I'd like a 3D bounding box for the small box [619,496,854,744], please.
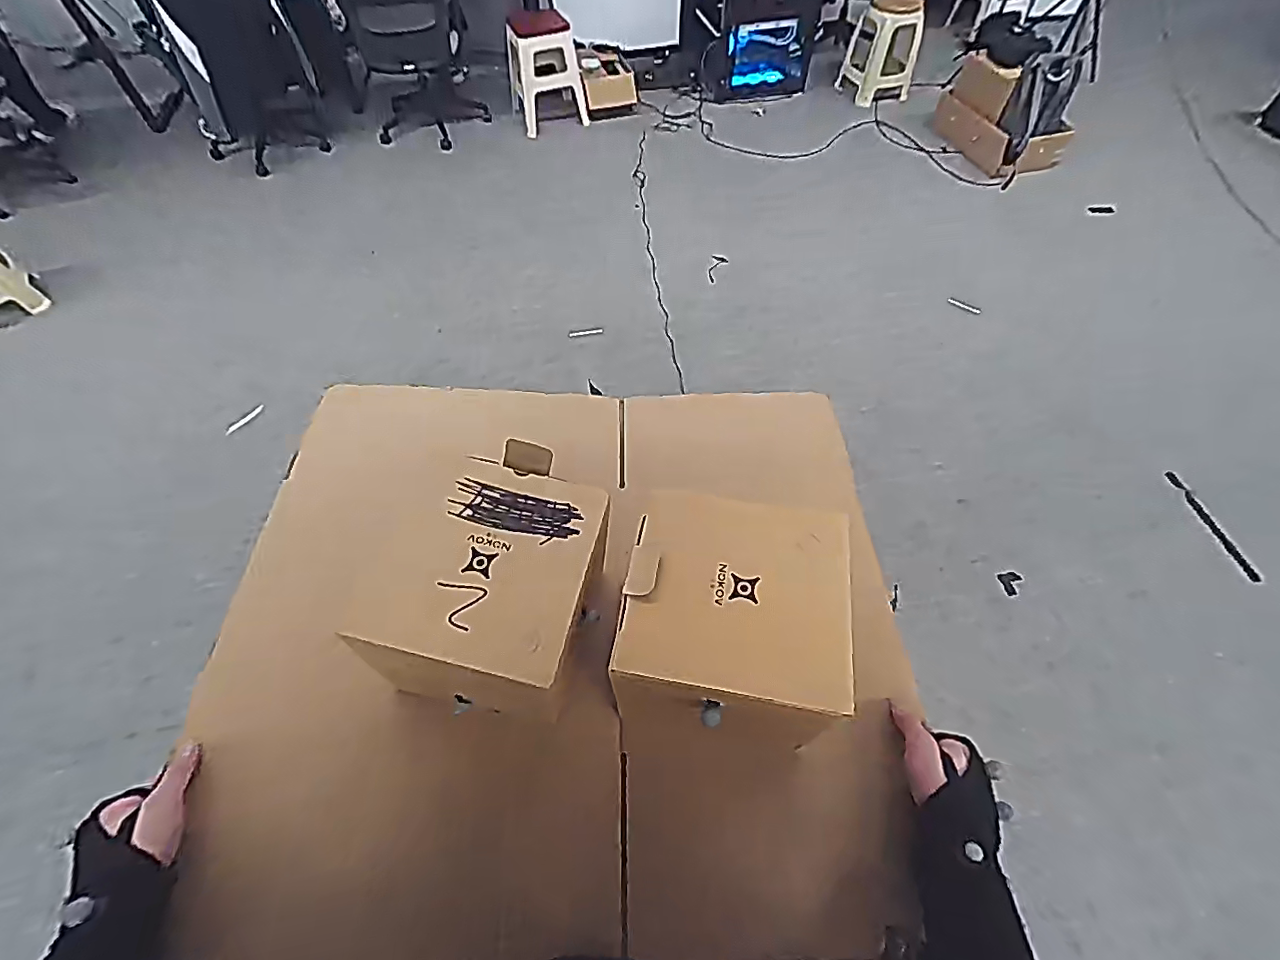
[{"bbox_3d":[0.086,0.138,0.508,0.179,0.176,0.168,7,56,8],"label":"small box"}]
